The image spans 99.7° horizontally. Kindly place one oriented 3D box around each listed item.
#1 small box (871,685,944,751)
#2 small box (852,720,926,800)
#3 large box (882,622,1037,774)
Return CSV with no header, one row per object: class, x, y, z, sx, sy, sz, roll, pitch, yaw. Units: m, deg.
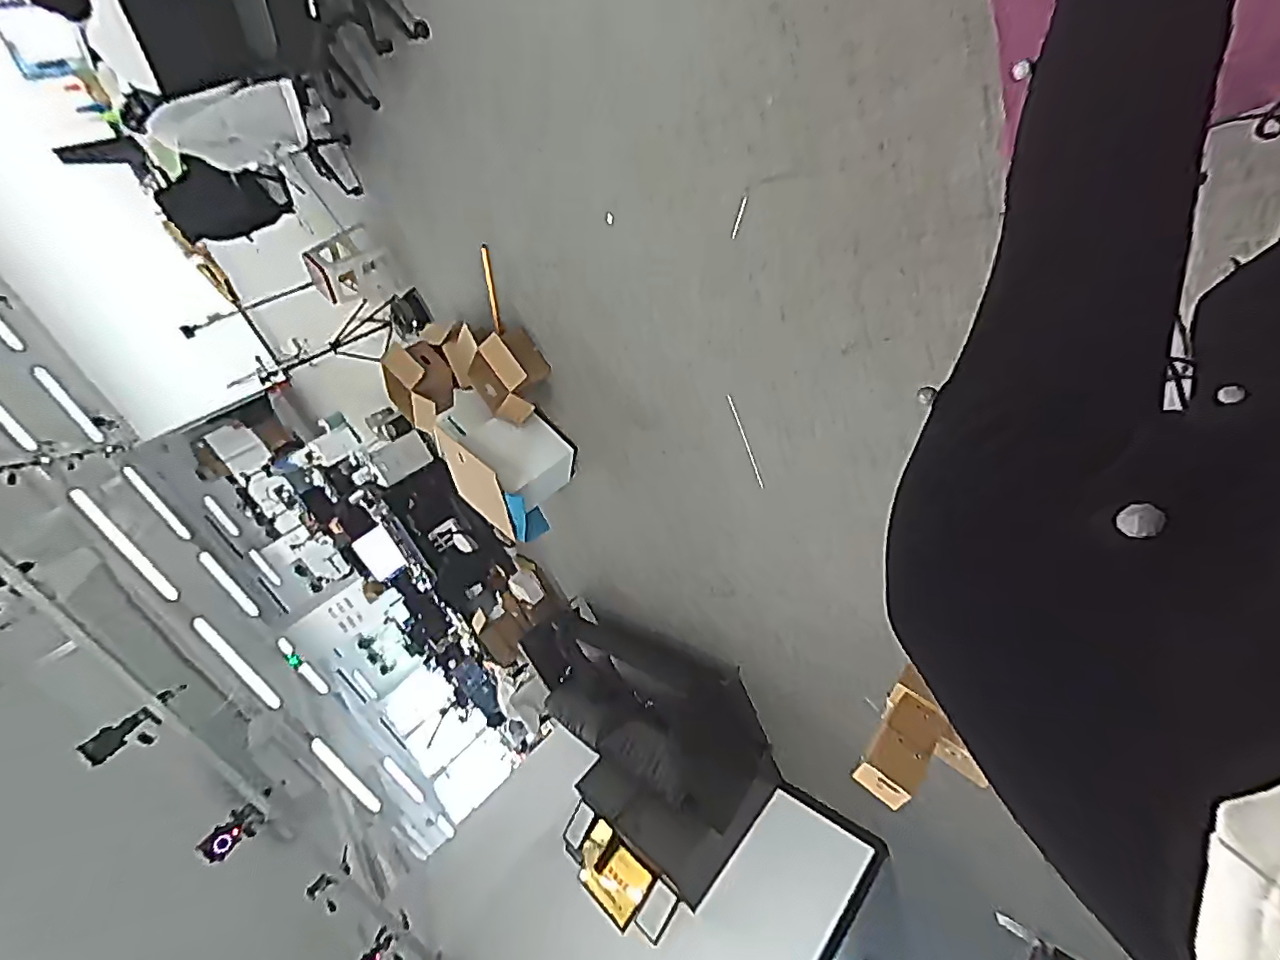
small box,0.998,0.907,2.015,0.168,0.176,0.179,33,144,28
small box,0.890,0.992,1.926,0.168,0.176,0.179,33,145,27
large box,1.231,0.837,2.115,0.408,0.320,0.320,28,144,33
